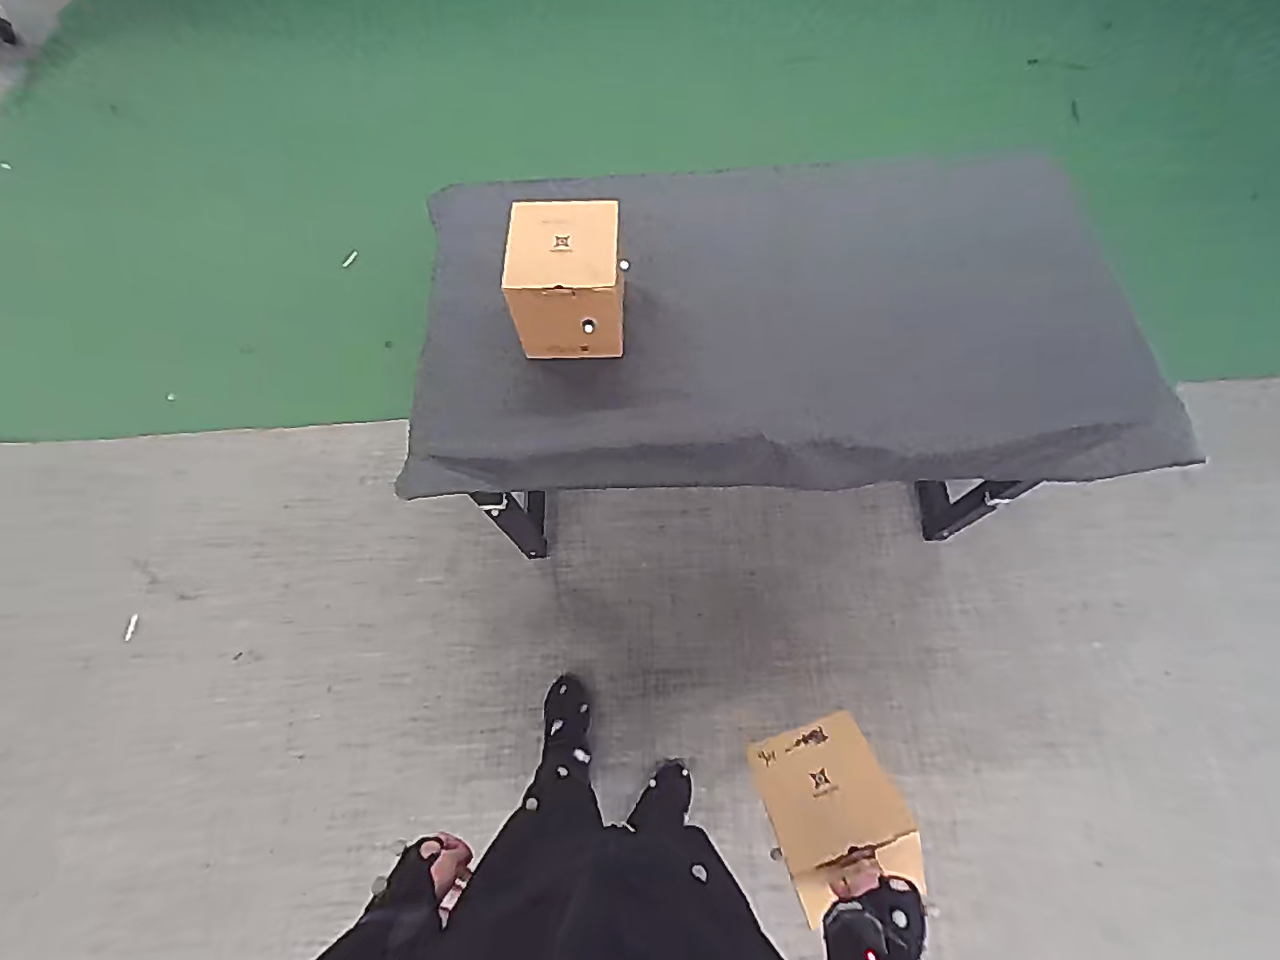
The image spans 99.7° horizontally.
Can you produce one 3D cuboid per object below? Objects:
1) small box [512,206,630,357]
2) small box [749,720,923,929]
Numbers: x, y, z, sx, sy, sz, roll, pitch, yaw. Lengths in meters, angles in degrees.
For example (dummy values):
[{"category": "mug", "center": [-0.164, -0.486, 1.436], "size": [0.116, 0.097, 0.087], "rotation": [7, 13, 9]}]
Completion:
[{"category": "small box", "center": [-0.102, -0.317, 0.886], "size": [0.168, 0.176, 0.179], "rotation": [0, 66, 0]}, {"category": "small box", "center": [0.270, 0.481, 0.752], "size": [0.168, 0.176, 0.179], "rotation": [-19, 28, 1]}]
